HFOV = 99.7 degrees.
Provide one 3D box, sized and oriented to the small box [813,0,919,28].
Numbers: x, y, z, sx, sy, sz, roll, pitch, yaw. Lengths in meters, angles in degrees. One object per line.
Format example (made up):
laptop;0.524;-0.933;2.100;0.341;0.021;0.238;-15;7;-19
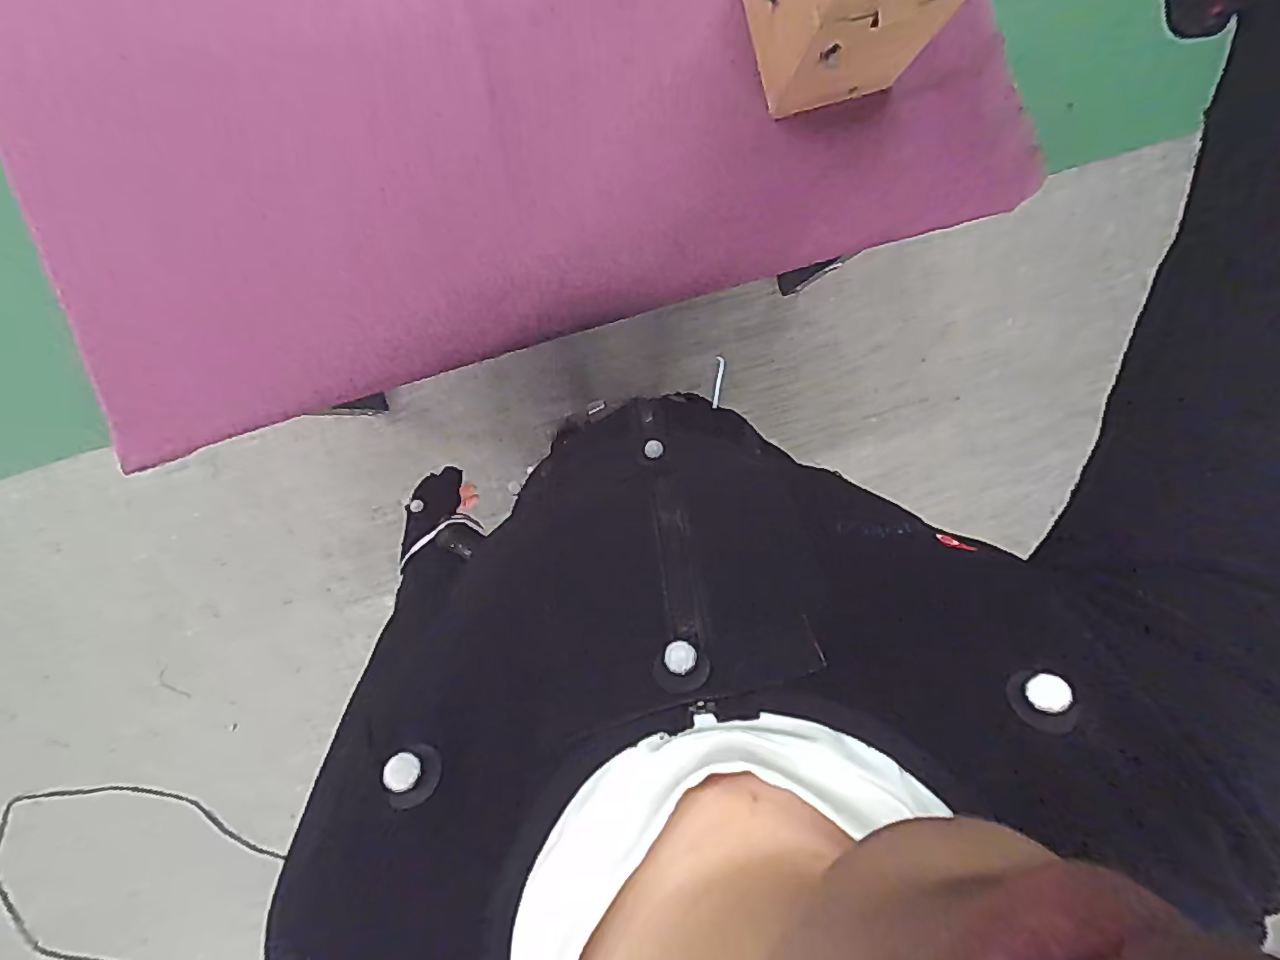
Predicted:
small box;0.231;-0.544;0.449;0.168;0.176;0.179;-20;98;-1
